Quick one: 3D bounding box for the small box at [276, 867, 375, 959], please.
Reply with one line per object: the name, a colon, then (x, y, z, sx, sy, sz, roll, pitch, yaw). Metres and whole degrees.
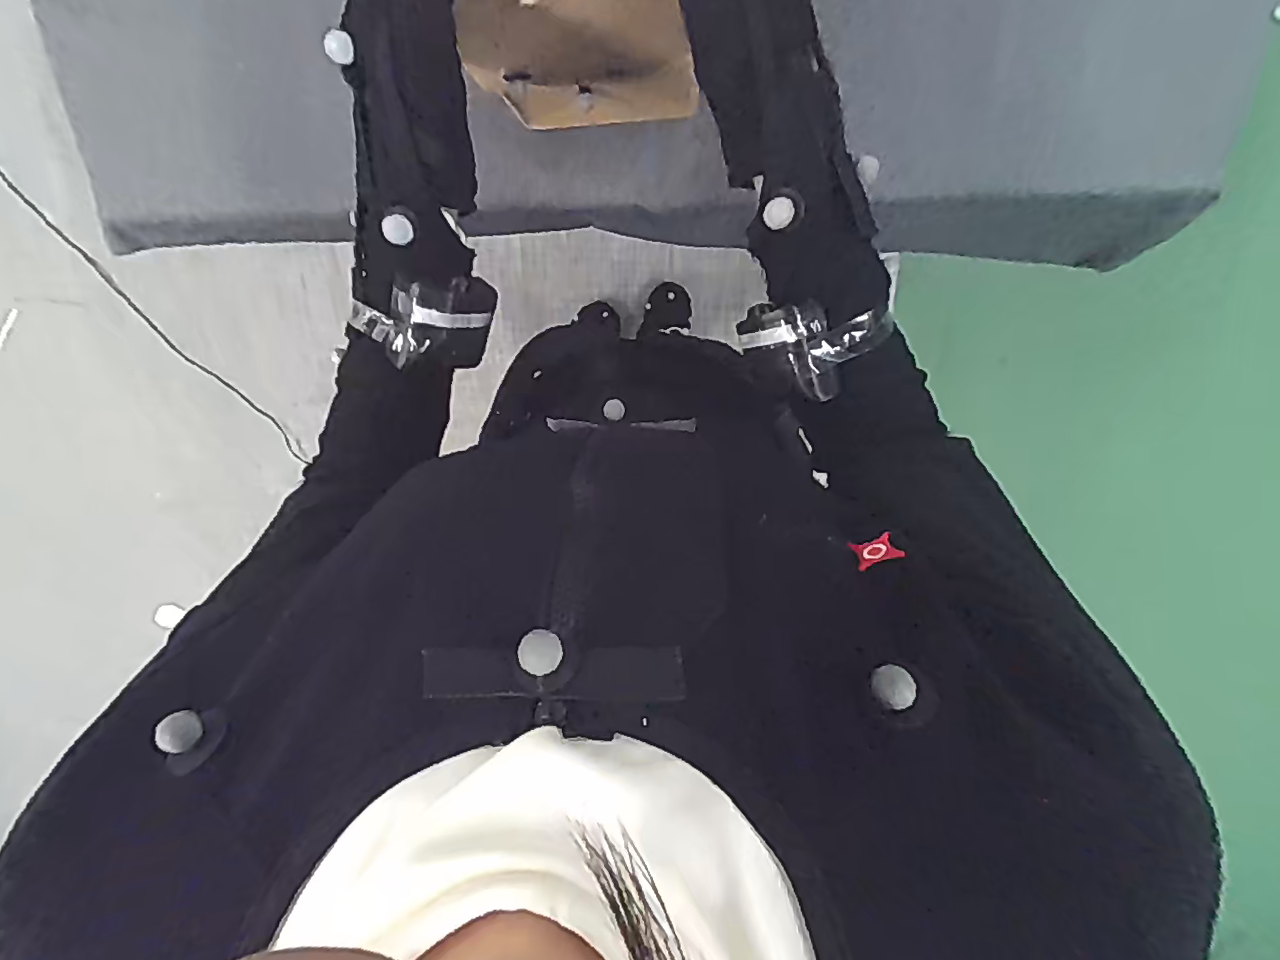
small box: (-0.912, 1.293, 1.583, 0.168, 0.176, 0.179, 30, 107, -9)

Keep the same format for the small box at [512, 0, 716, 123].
small box: (-0.035, -0.430, 0.459, 0.179, 0.176, 0.168, -7, 108, 4)

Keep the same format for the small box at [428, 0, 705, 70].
small box: (-0.045, -0.363, 0.306, 0.168, 0.176, 0.179, -3, 108, 3)
